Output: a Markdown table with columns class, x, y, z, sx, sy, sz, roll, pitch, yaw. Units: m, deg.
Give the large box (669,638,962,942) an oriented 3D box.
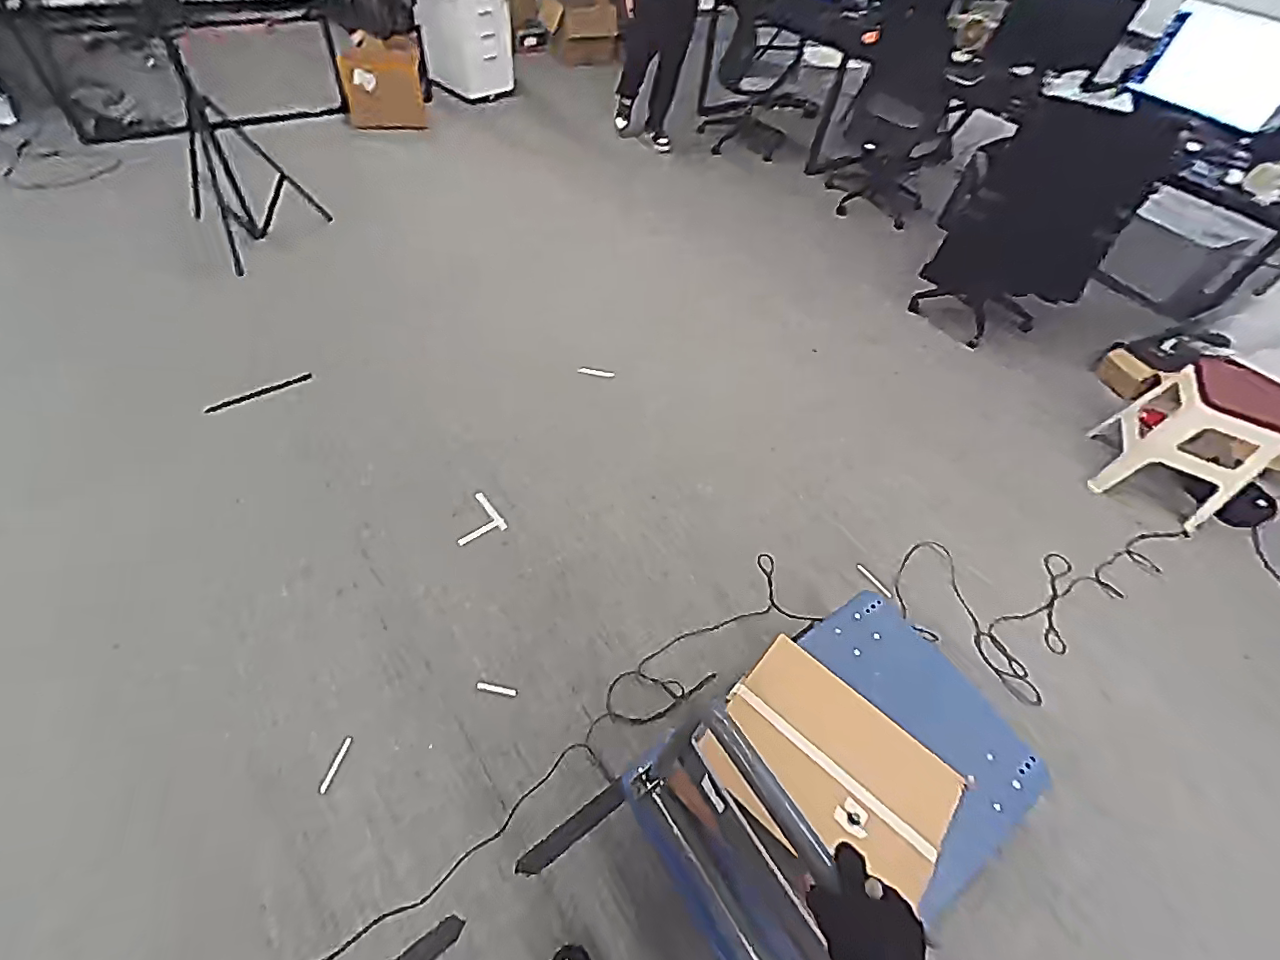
| class | x | y | z | sx | sy | sz | roll | pitch | yaw |
| --- | --- | --- | --- | --- | --- | --- | --- | --- | --- |
| large box | 0.322 | 0.604 | 1.082 | 0.408 | 0.320 | 0.320 | 37 | 57 | 20 |
